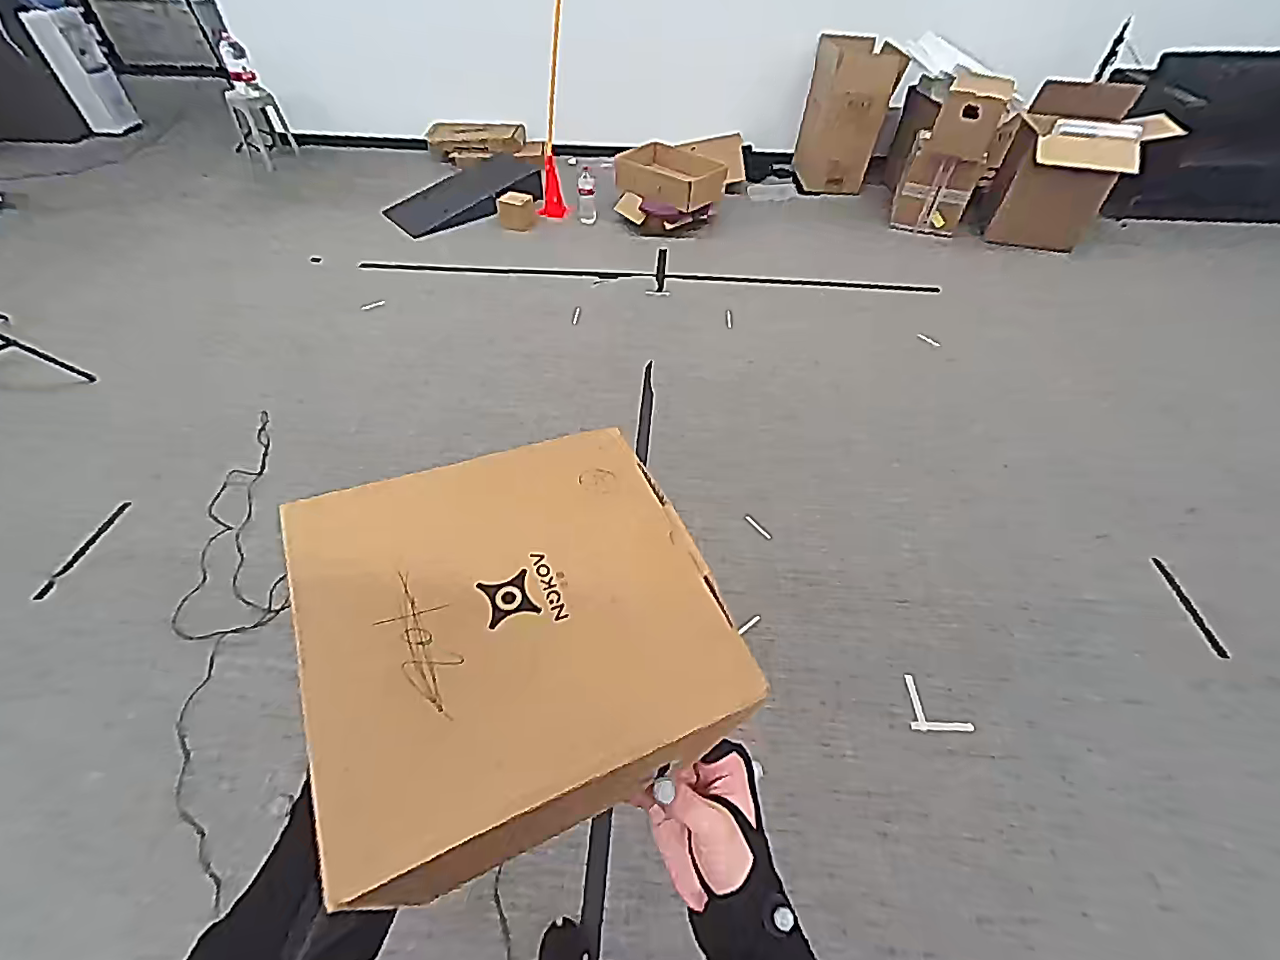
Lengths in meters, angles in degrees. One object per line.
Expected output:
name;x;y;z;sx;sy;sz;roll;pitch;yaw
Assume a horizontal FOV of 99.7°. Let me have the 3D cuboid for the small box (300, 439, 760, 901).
small box;-0.066;0.107;0.316;0.179;0.176;0.168;-17;56;-21
